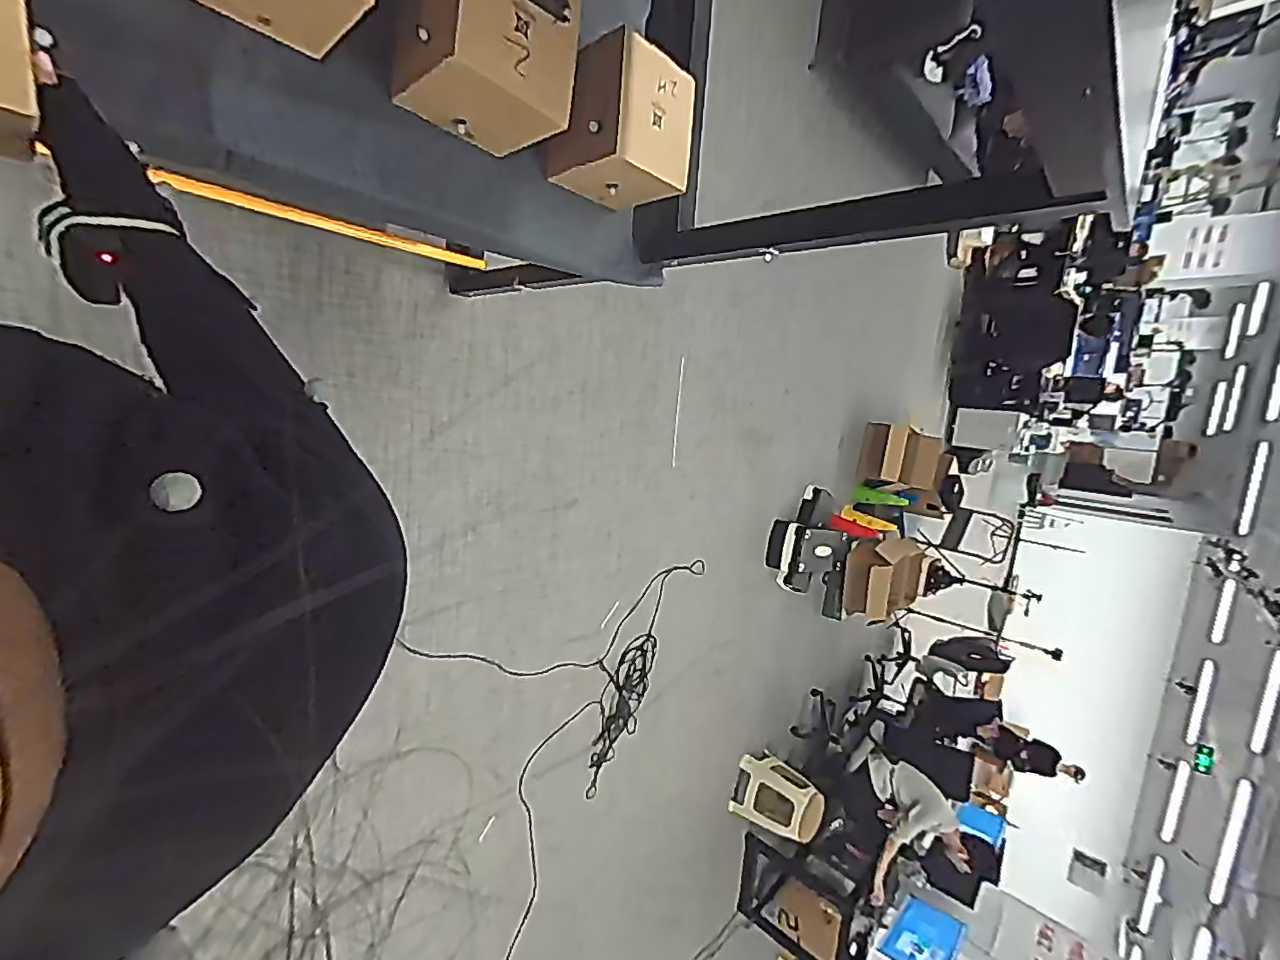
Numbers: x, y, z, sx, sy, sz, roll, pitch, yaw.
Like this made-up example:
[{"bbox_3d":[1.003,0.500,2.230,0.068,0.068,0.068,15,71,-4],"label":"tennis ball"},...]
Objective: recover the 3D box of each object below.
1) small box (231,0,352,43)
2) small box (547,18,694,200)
[{"bbox_3d":[-0.368,-0.575,0.516,0.168,0.176,0.179,-3,102,-48],"label":"small box"},{"bbox_3d":[-0.035,-0.580,0.880,0.168,0.176,0.179,-5,102,-48],"label":"small box"}]
